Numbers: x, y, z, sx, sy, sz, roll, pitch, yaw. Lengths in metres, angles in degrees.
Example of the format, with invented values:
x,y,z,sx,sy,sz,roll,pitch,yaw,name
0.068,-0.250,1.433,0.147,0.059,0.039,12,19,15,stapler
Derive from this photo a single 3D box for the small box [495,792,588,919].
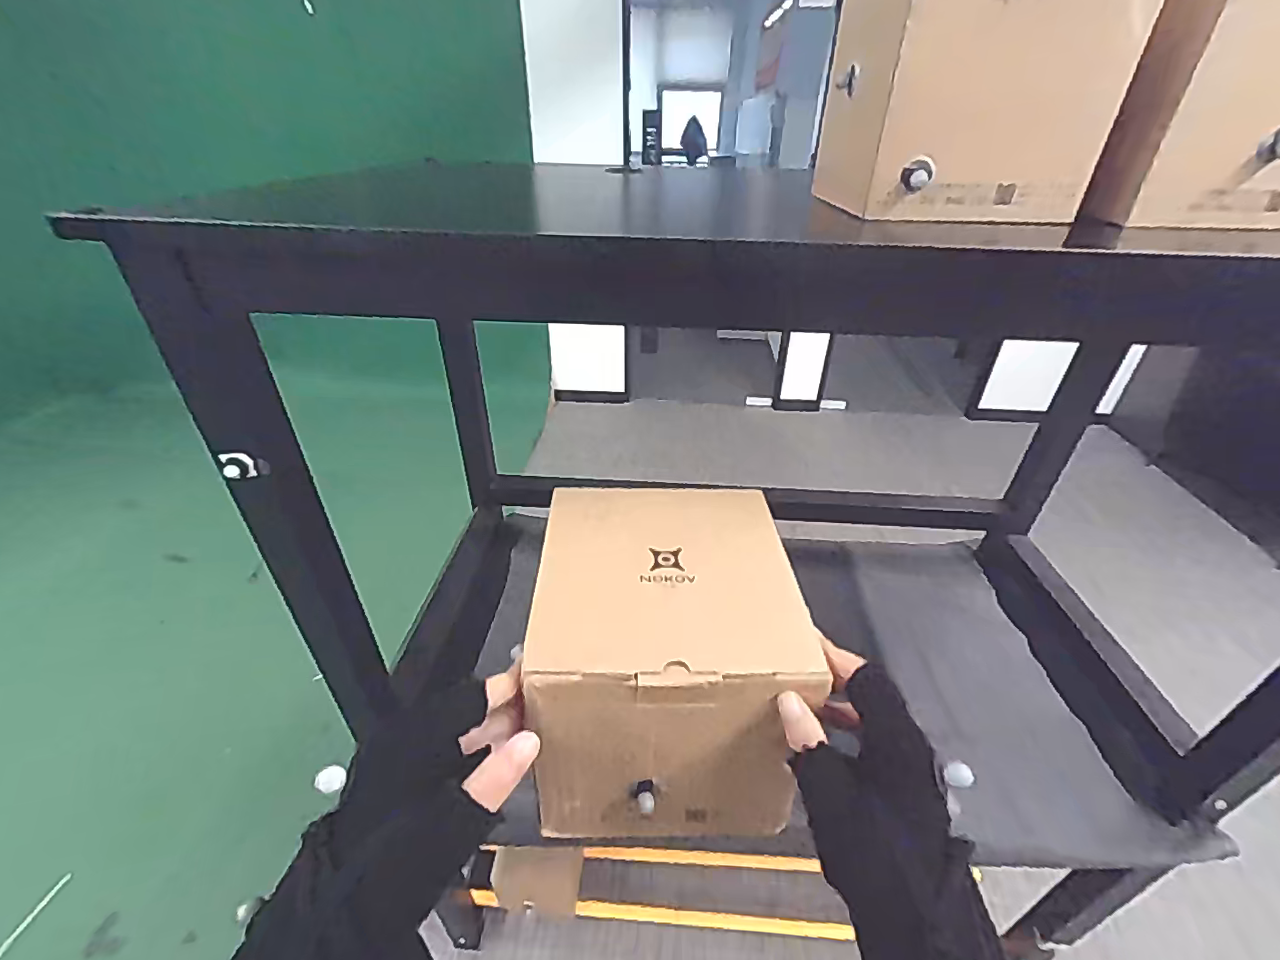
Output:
x,y,z,sx,sy,sz,roll,pitch,yaw,name
-0.206,0.821,1.185,0.168,0.176,0.179,2,35,3,small box
